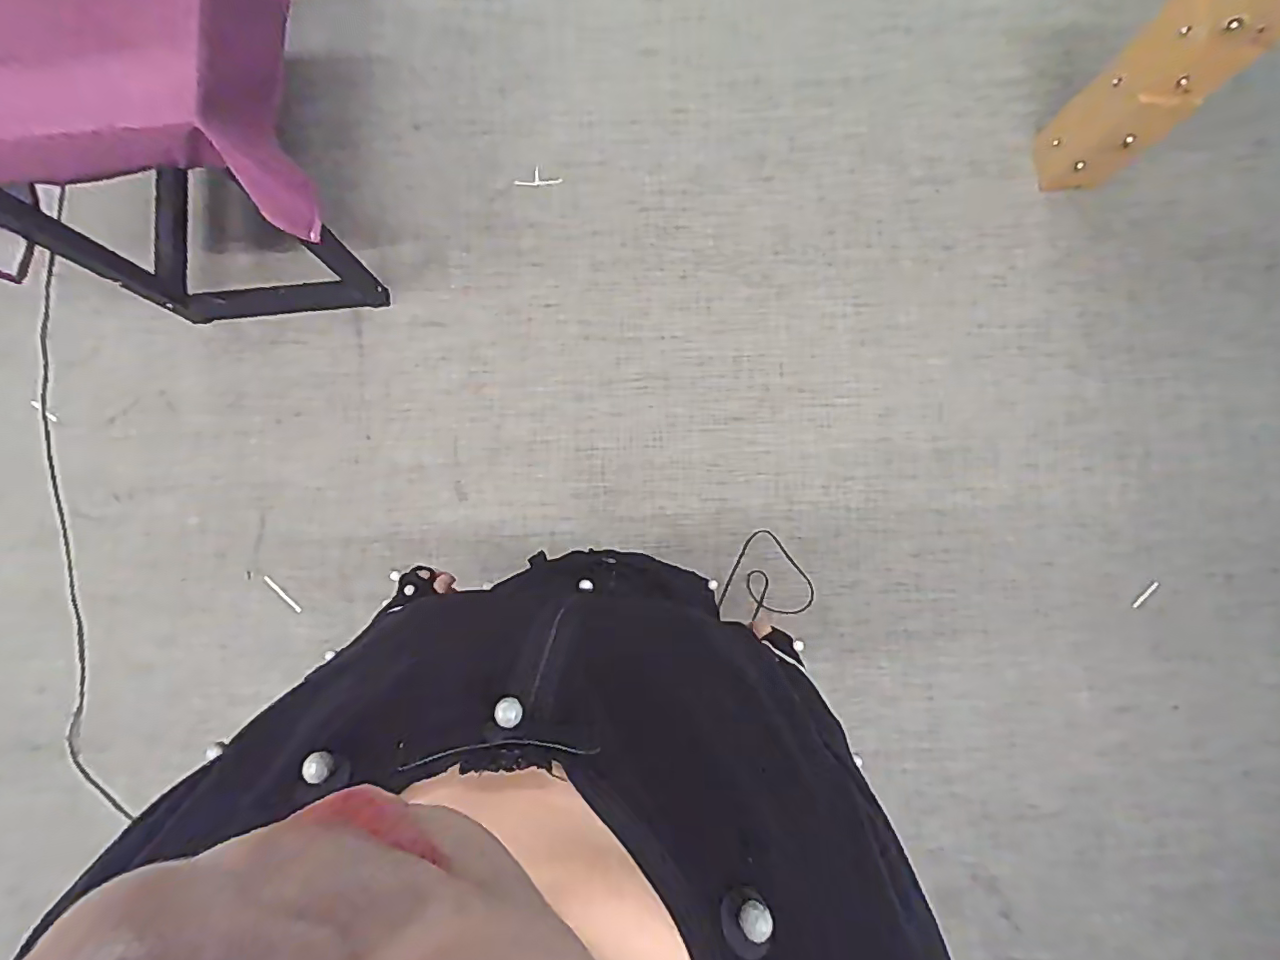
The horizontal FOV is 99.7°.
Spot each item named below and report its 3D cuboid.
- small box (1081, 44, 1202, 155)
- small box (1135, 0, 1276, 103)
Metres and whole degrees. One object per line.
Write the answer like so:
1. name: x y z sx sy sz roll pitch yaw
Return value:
1. small box: 1.318 -1.004 1.434 0.168 0.176 0.179 1 82 1
2. small box: 1.319 -1.037 1.274 0.168 0.176 0.179 4 83 0
